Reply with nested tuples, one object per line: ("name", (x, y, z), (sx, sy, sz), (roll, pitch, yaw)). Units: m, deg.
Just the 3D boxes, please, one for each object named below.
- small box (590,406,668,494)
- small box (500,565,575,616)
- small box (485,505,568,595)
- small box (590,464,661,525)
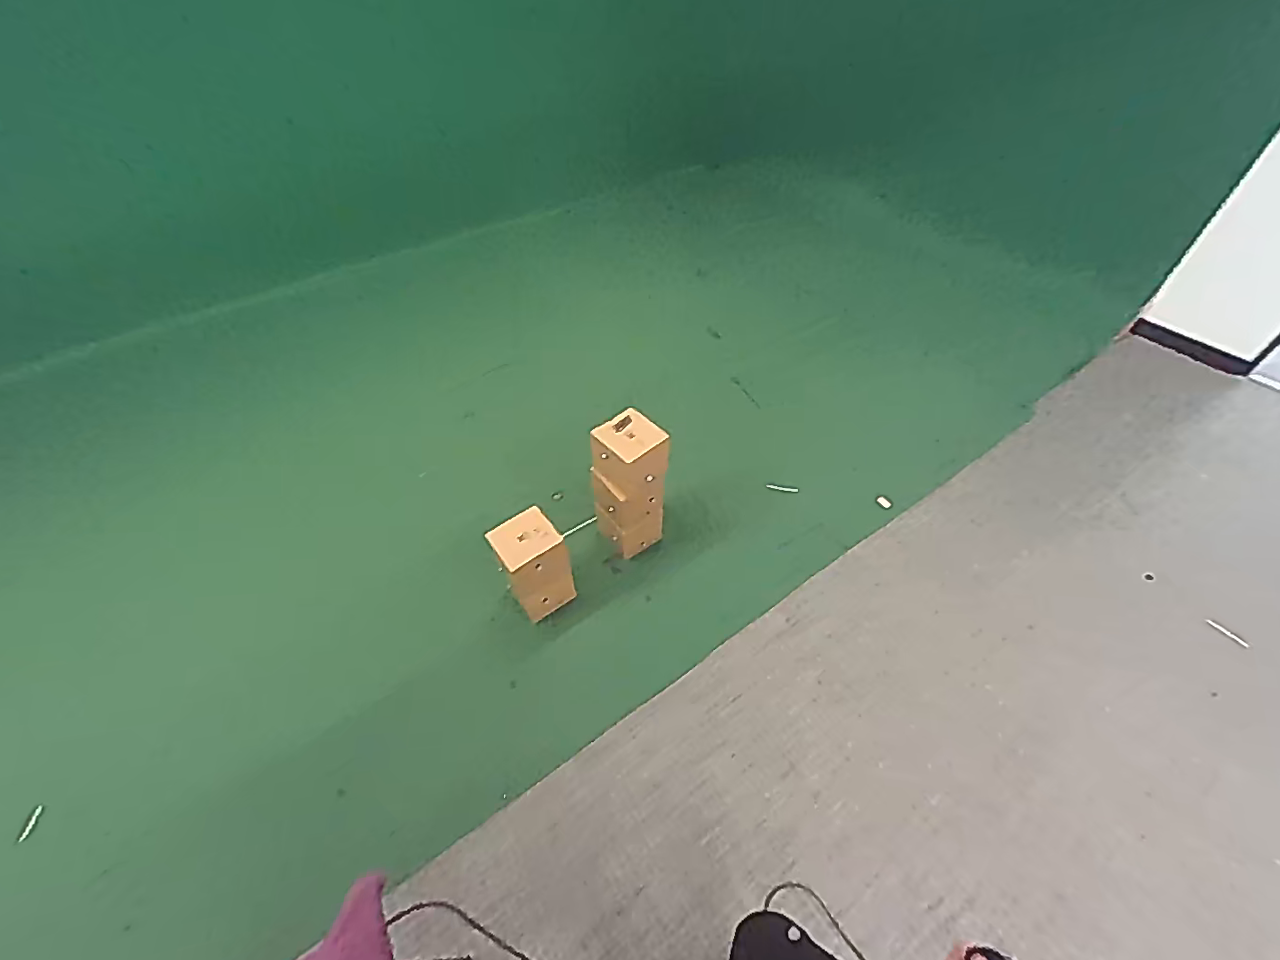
("small box", (-0.034, -0.089, 1.656), (0.168, 0.176, 0.179), (-35, 59, -26))
("small box", (-0.329, 0.317, 1.751), (0.168, 0.176, 0.179), (-31, 54, -22))
("small box", (-0.333, 0.214, 1.623), (0.179, 0.176, 0.168), (-31, 55, -22))
("small box", (-0.045, 0.023, 1.775), (0.168, 0.176, 0.179), (-30, 55, -23))
